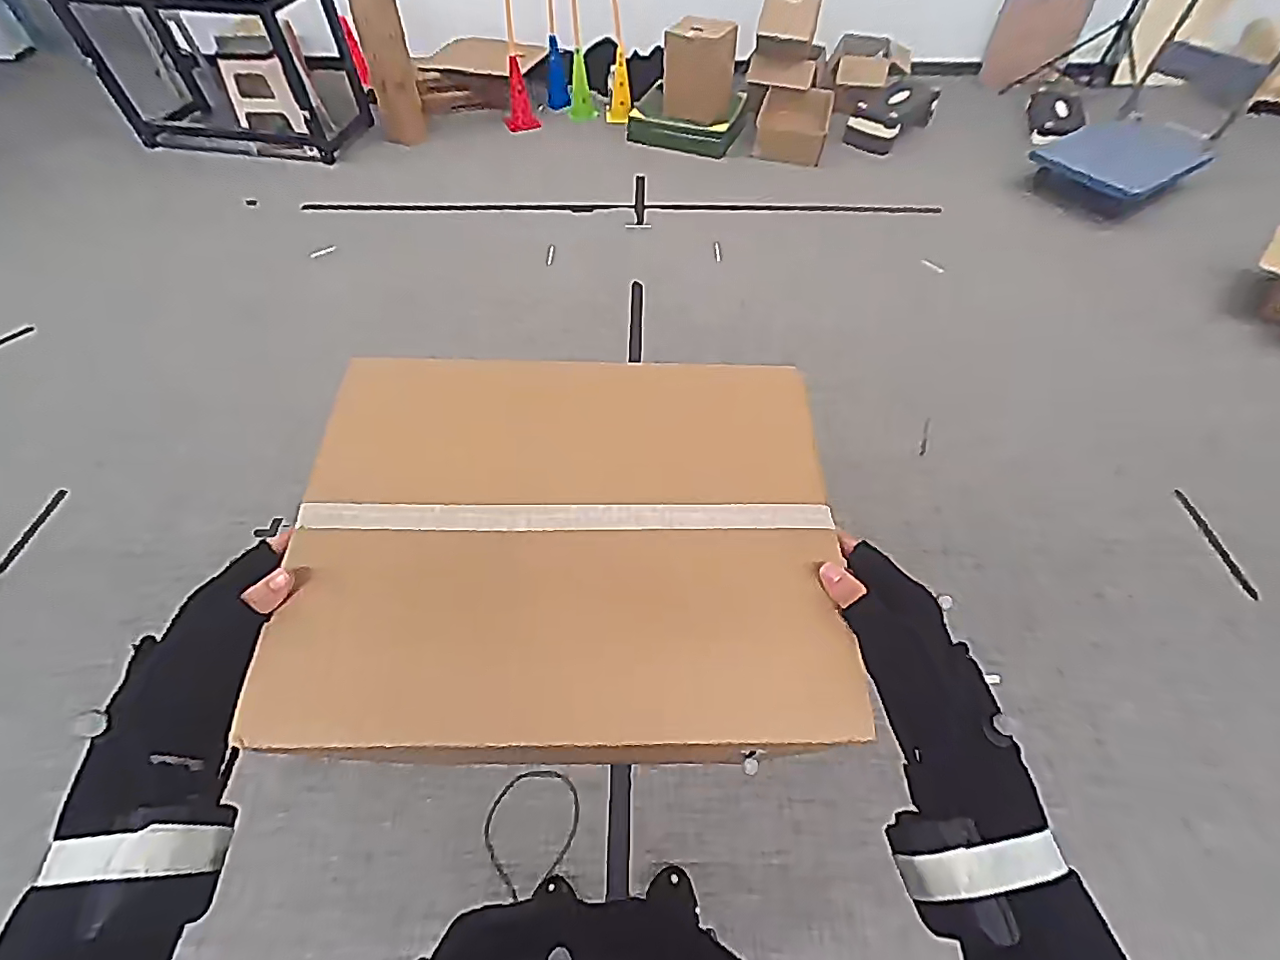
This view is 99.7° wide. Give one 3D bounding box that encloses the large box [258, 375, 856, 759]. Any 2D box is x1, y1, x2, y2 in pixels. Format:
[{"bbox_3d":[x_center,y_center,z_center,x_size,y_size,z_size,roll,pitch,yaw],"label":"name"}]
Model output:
[{"bbox_3d":[-0.057,0.109,0.557,0.408,0.320,0.320,0,60,-2],"label":"large box"}]
